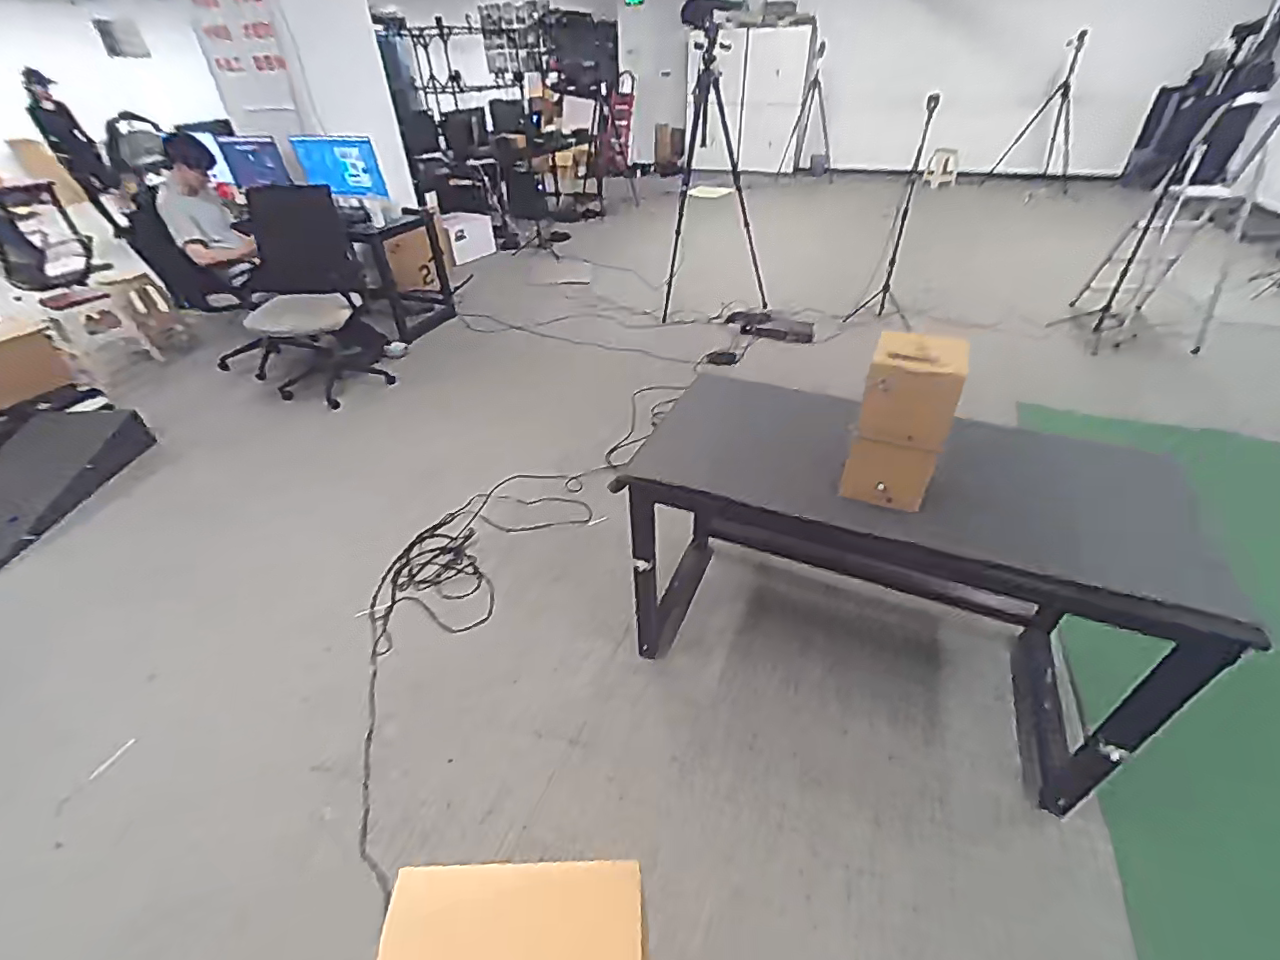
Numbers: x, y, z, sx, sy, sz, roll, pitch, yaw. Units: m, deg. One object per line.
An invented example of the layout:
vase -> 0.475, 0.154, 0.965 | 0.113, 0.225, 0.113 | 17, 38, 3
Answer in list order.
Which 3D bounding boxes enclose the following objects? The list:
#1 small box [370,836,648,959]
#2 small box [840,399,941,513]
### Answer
small box -> -0.077, 0.360, 0.353 | 0.168, 0.176, 0.179 | -2, 43, 0
small box -> 0.554, -0.056, 1.205 | 0.168, 0.176, 0.179 | 14, 39, 21
